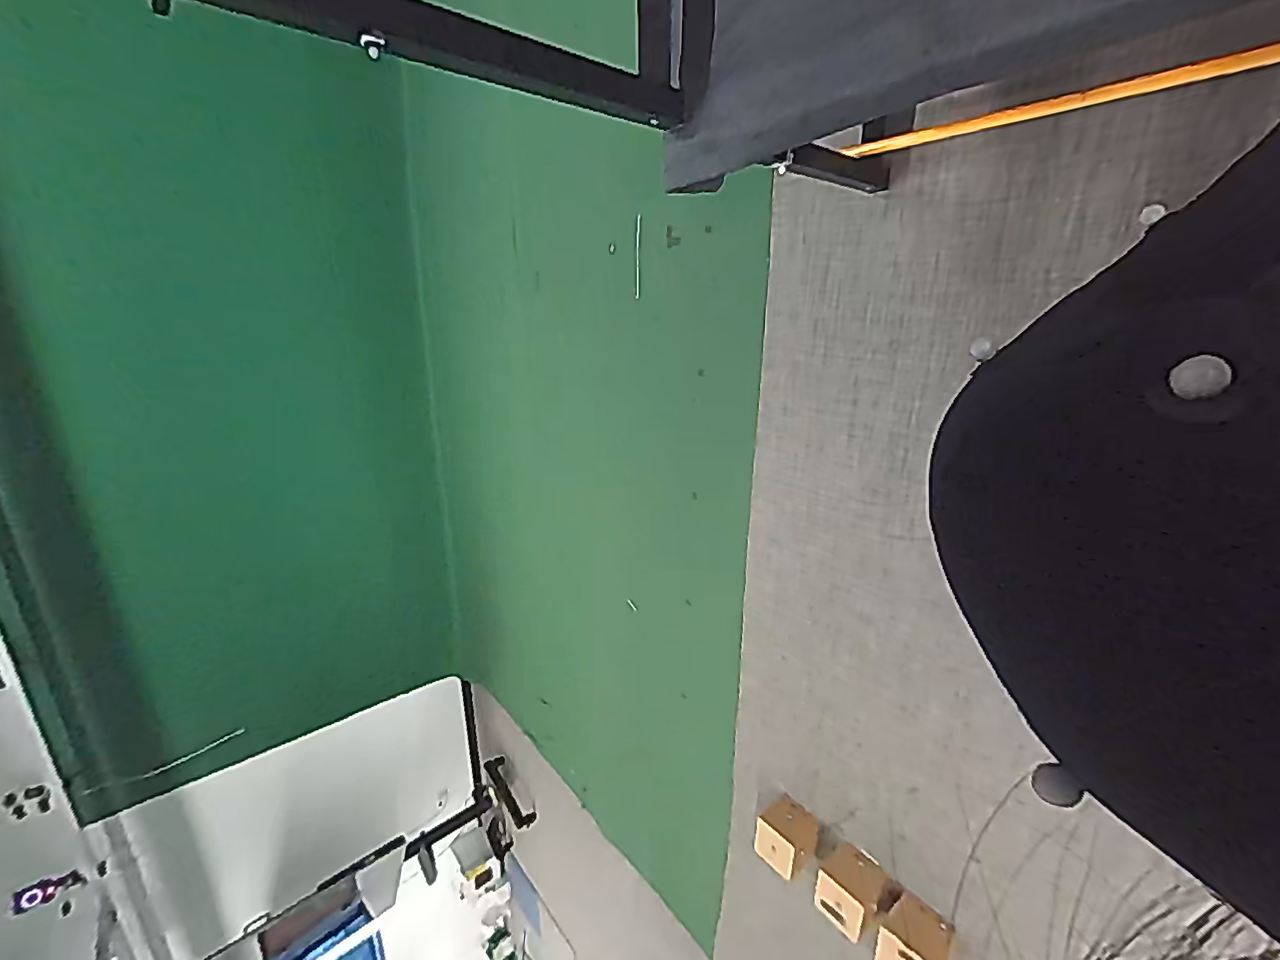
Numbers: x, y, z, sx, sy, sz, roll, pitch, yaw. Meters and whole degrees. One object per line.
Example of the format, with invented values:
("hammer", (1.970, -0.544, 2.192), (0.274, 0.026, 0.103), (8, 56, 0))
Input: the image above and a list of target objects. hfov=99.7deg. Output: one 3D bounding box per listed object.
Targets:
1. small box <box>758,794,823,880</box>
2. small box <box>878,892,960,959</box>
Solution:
("small box", (0.571, 1.339, 2.045), (0.168, 0.176, 0.179), (22, 117, 48))
("small box", (0.875, 1.454, 1.690), (0.168, 0.176, 0.179), (19, 116, 47))
